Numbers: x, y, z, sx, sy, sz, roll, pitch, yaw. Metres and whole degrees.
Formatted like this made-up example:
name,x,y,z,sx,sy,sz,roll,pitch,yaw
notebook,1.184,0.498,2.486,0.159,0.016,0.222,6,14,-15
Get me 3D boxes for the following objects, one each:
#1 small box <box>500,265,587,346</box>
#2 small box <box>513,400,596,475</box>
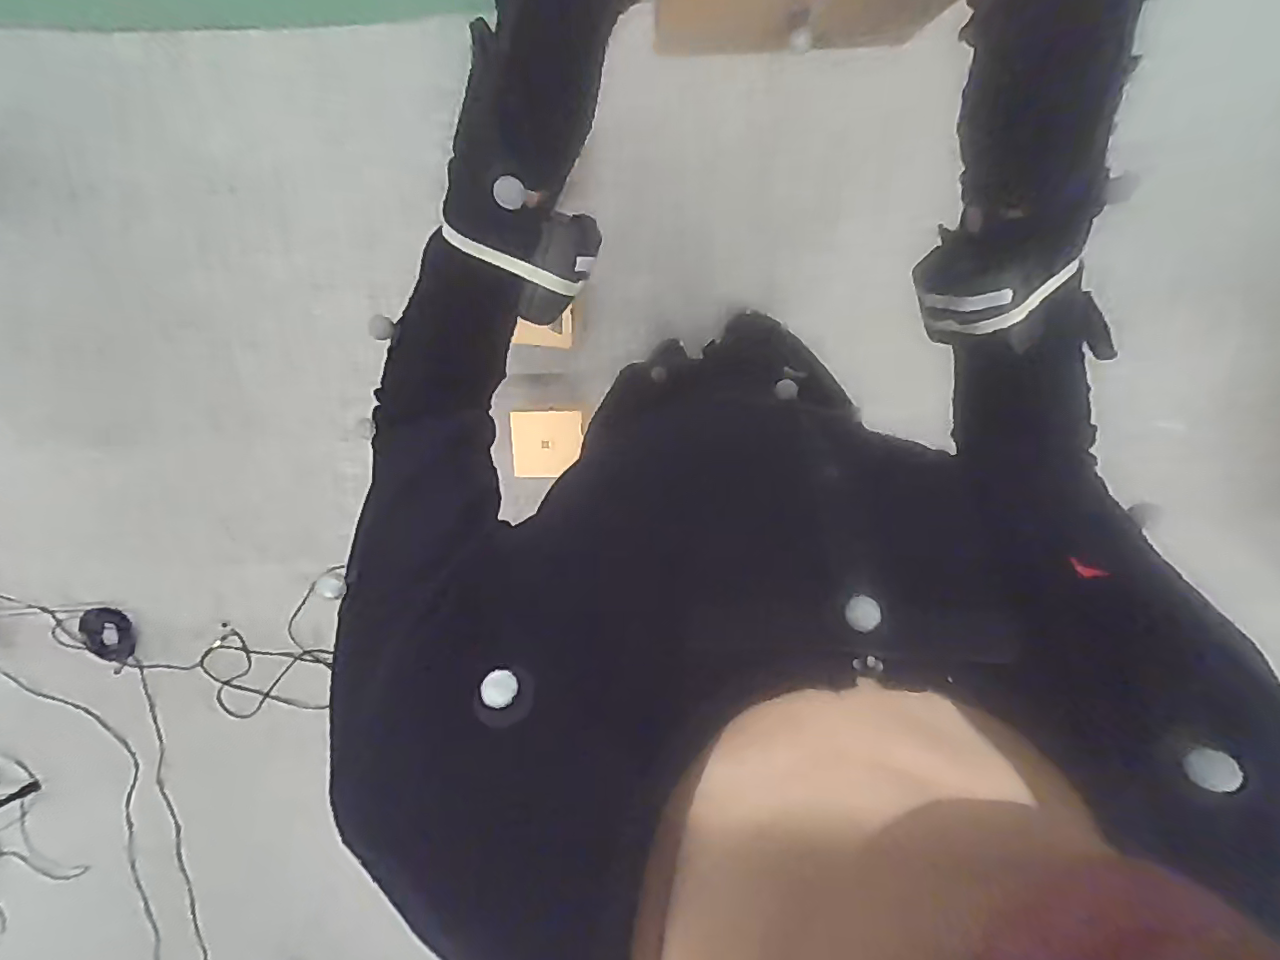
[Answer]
name,x,y,z,sx,sy,sz,roll,pitch,yaw
small box,-0.226,-0.416,1.305,0.179,0.176,0.168,5,104,2
small box,-0.213,-0.112,1.385,0.179,0.176,0.168,-1,105,3
